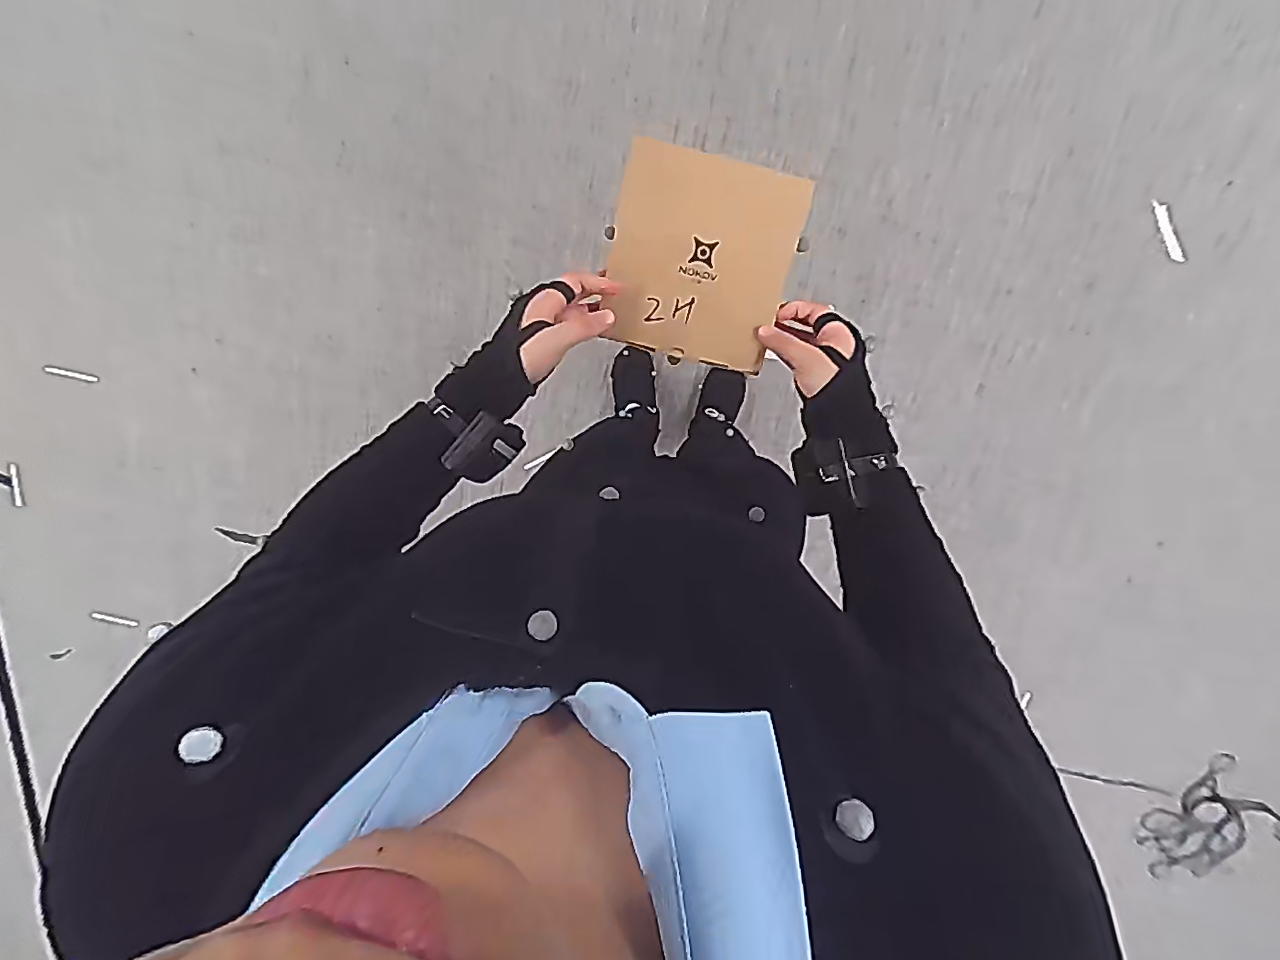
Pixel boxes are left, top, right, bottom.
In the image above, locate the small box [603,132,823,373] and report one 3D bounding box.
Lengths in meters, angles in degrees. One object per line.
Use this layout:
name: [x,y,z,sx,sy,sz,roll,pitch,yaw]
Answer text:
small box: [0.065,-0.224,0.566,0.168,0.176,0.179,13,108,-1]
